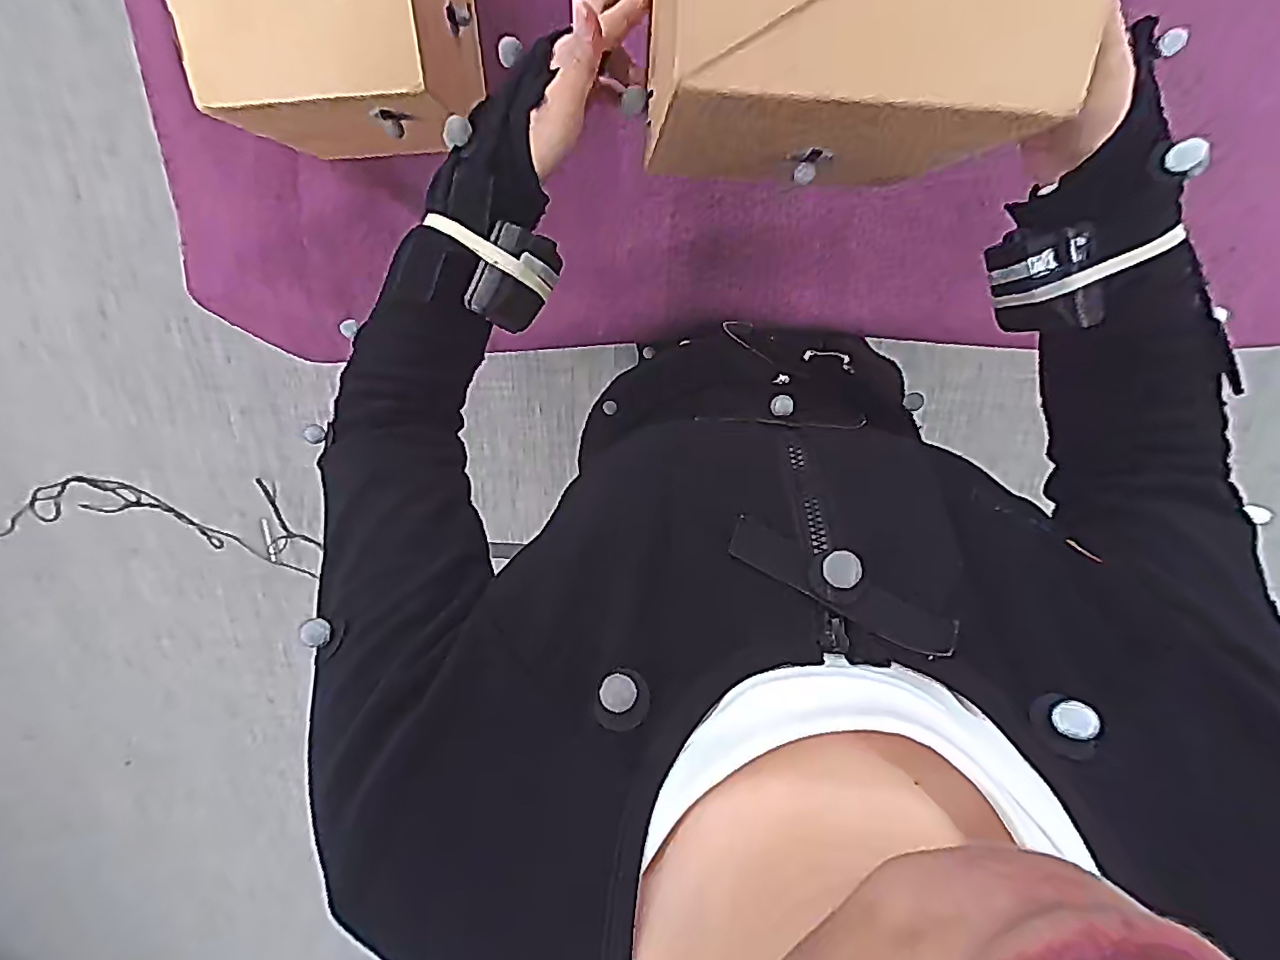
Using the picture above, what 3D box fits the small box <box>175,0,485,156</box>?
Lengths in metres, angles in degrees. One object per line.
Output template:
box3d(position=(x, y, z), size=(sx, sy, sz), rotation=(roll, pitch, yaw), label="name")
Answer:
box3d(position=(-0.237, -0.381, 0.443), size=(0.179, 0.176, 0.168), rotation=(-2, 109, 3), label="small box")
